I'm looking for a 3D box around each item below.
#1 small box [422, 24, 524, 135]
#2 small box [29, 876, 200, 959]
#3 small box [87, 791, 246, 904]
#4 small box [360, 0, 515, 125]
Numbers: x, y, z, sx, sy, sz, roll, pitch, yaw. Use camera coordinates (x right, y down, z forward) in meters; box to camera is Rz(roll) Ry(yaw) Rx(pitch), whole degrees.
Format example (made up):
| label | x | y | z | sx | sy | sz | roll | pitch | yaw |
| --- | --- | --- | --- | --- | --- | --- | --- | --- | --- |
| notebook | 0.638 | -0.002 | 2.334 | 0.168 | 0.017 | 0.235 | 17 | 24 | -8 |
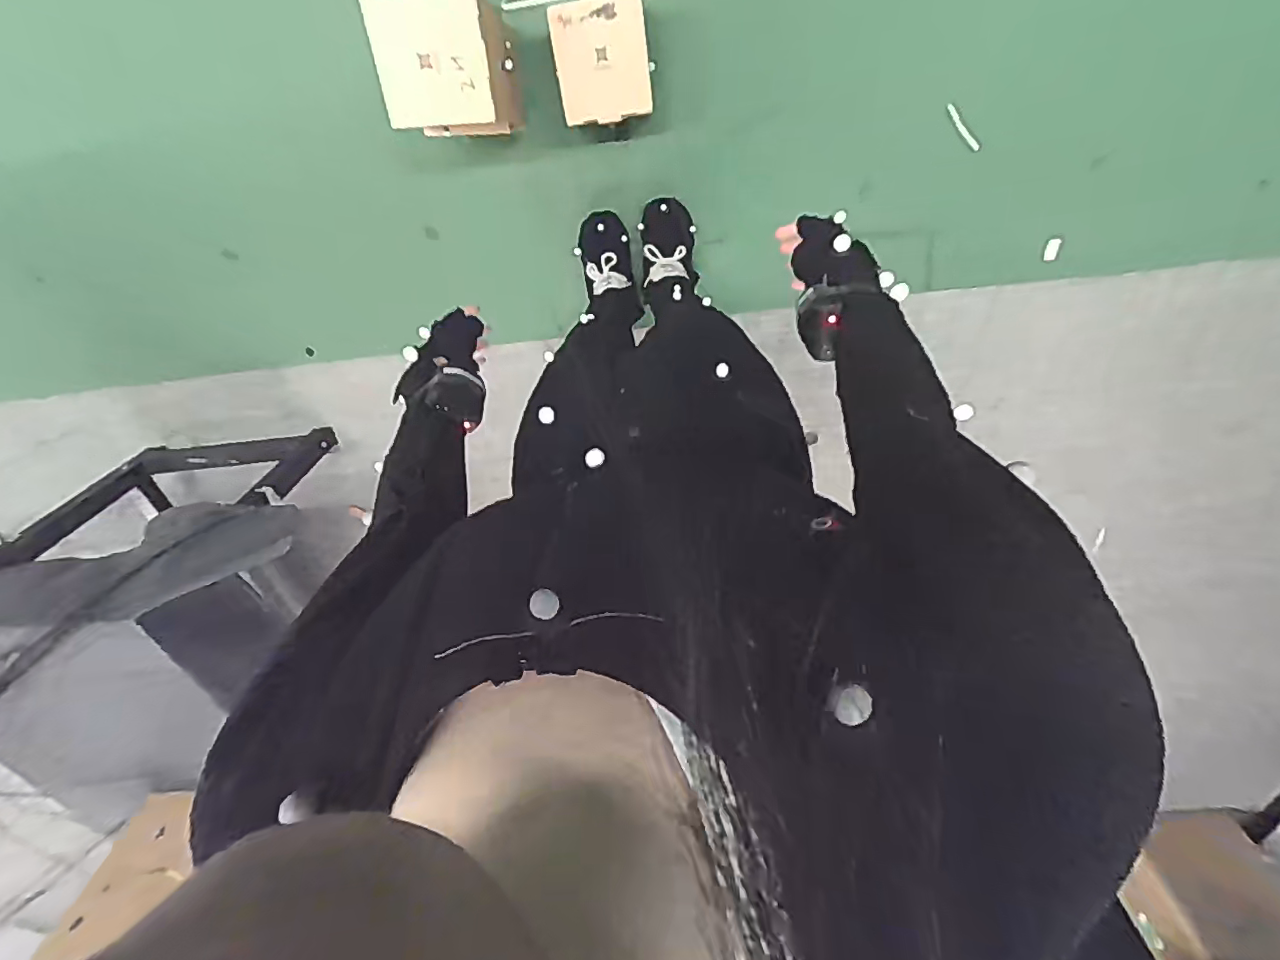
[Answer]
| label | x | y | z | sx | sy | sz | roll | pitch | yaw |
| --- | --- | --- | --- | --- | --- | --- | --- | --- | --- |
| small box | -0.327 | -0.771 | 1.037 | 0.168 | 0.176 | 0.179 | -1 | 123 | 1 |
| small box | -1.064 | 0.929 | 1.097 | 0.168 | 0.176 | 0.179 | -6 | 123 | 6 |
| small box | -1.060 | 0.835 | 1.230 | 0.179 | 0.176 | 0.168 | -5 | 124 | 3 |
| small box | -0.321 | -0.689 | 0.893 | 0.179 | 0.176 | 0.168 | -2 | 123 | 2 |
